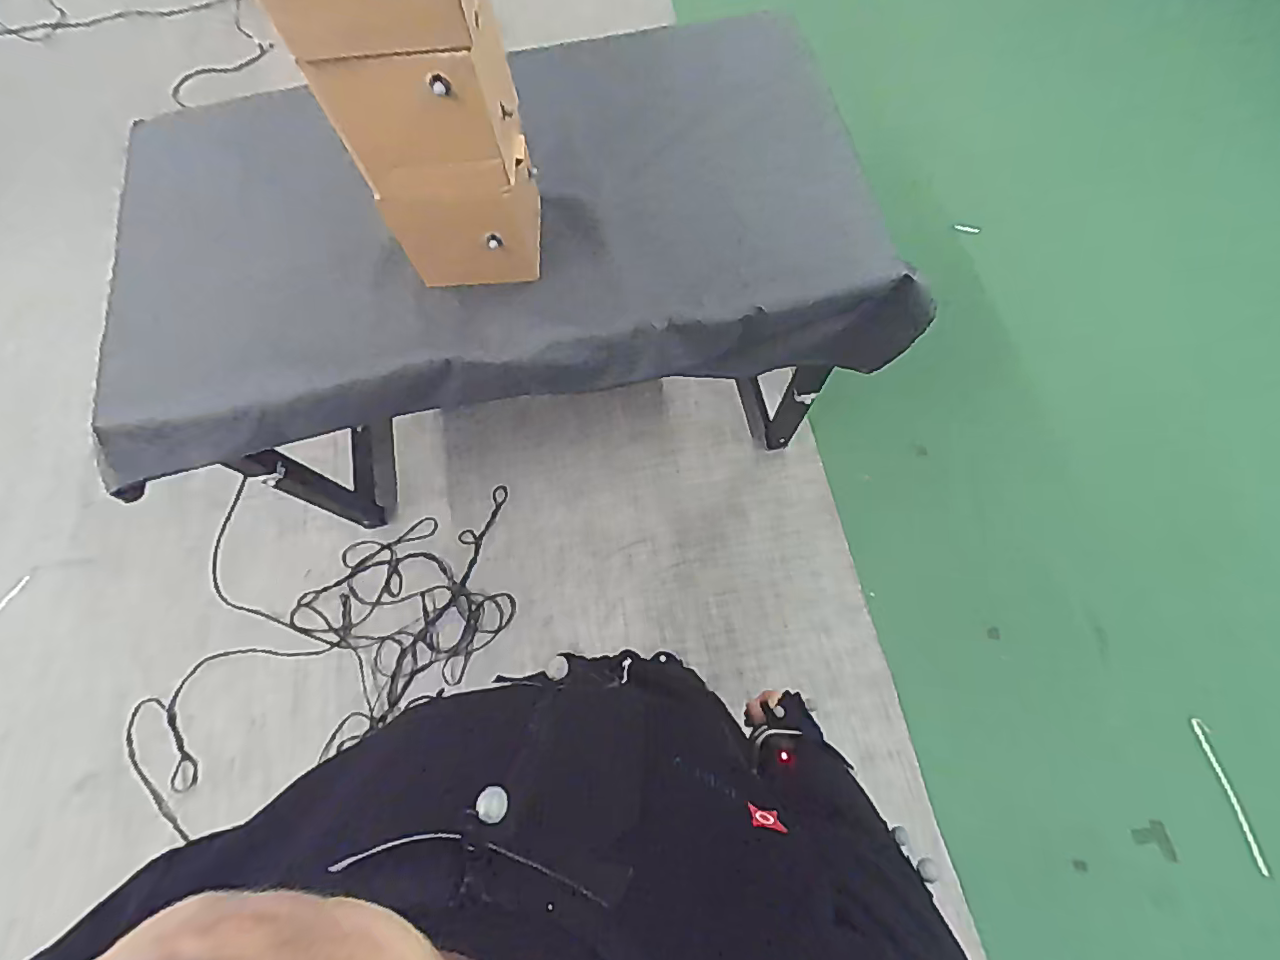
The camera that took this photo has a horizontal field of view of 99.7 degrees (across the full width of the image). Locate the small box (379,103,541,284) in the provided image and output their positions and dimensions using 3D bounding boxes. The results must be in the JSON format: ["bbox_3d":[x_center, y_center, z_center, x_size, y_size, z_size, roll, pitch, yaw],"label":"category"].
[{"bbox_3d":[-0.242,-0.404,0.776,0.179,0.176,0.168,-4,70,1],"label":"small box"}]

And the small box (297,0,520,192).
[{"bbox_3d":[-0.247,-0.460,0.623,0.179,0.176,0.168,-3,71,0],"label":"small box"}]
